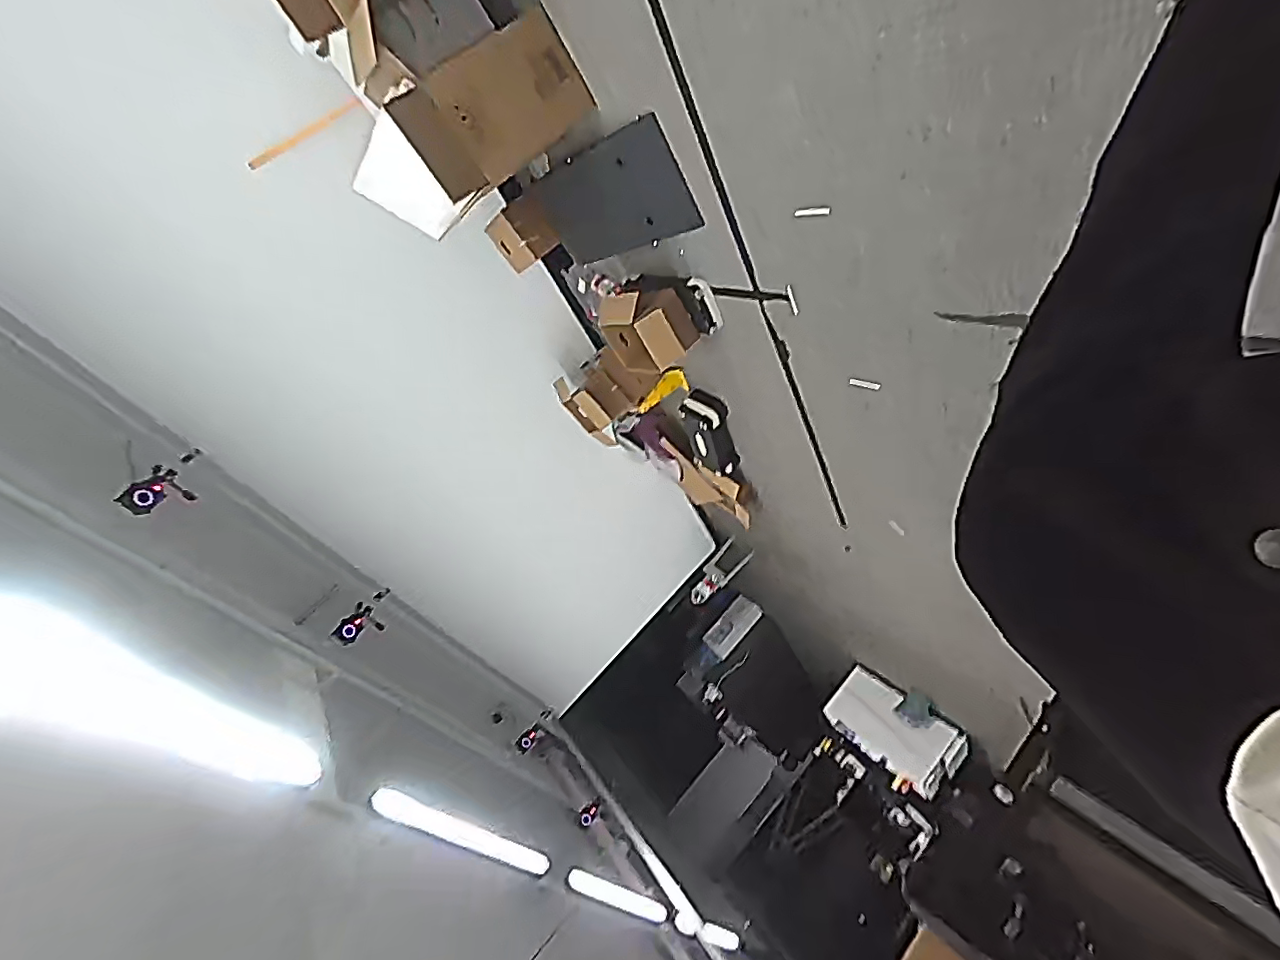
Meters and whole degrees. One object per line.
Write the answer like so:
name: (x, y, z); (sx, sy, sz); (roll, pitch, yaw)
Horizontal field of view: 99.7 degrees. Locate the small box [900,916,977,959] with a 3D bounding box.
small box: (0.891, 1.432, 1.592); (0.168, 0.176, 0.179); (30, 161, 45)
